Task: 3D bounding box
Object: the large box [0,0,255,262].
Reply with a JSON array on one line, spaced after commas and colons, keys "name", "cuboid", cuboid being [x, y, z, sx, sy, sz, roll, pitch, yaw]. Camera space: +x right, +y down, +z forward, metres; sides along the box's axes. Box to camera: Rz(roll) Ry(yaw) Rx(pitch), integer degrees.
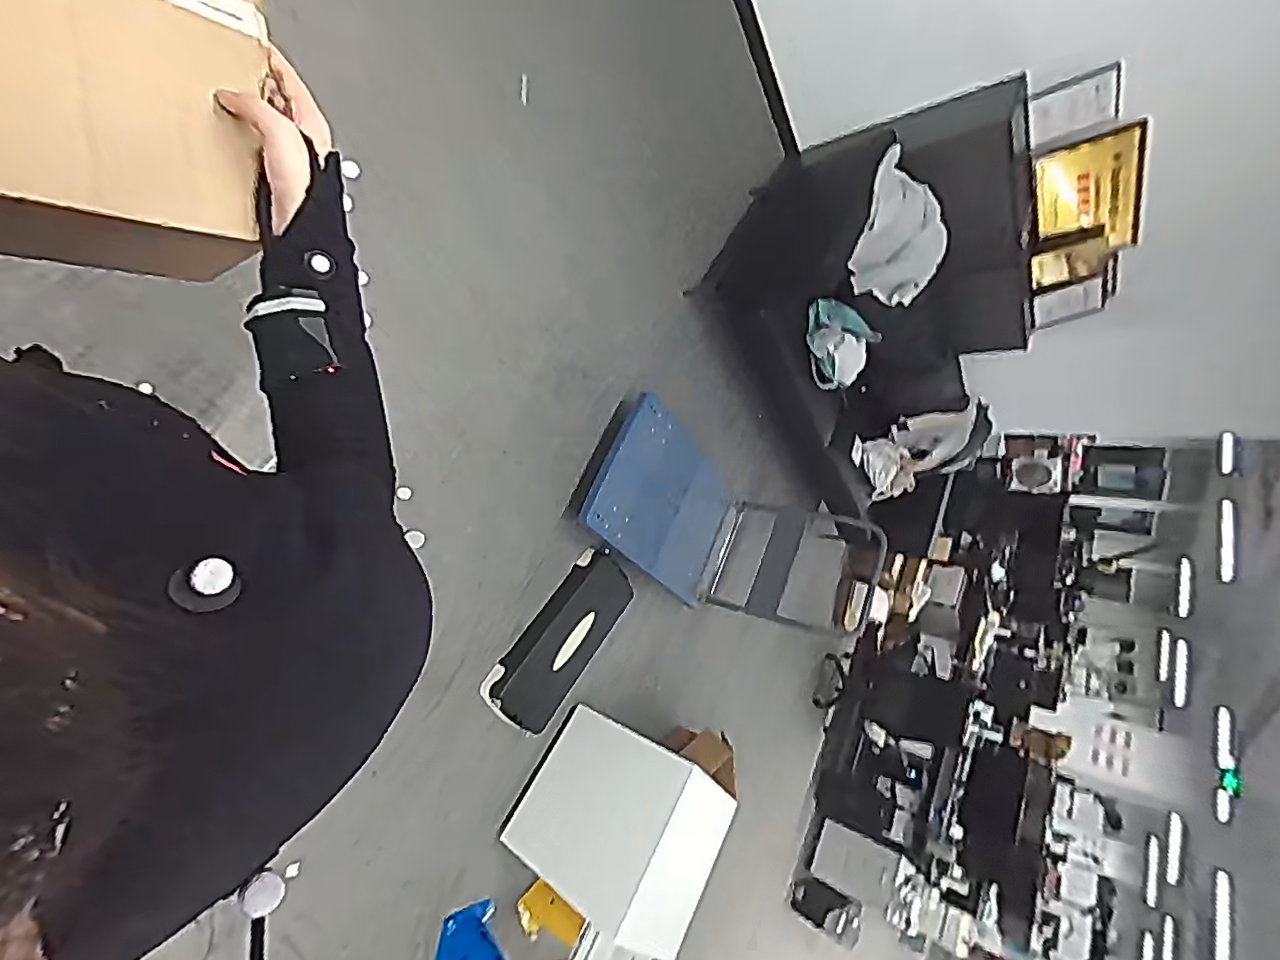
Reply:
[{"name": "large box", "cuboid": [-0.552, -0.355, 0.379, 0.408, 0.320, 0.320, -8, 105, -44]}]
